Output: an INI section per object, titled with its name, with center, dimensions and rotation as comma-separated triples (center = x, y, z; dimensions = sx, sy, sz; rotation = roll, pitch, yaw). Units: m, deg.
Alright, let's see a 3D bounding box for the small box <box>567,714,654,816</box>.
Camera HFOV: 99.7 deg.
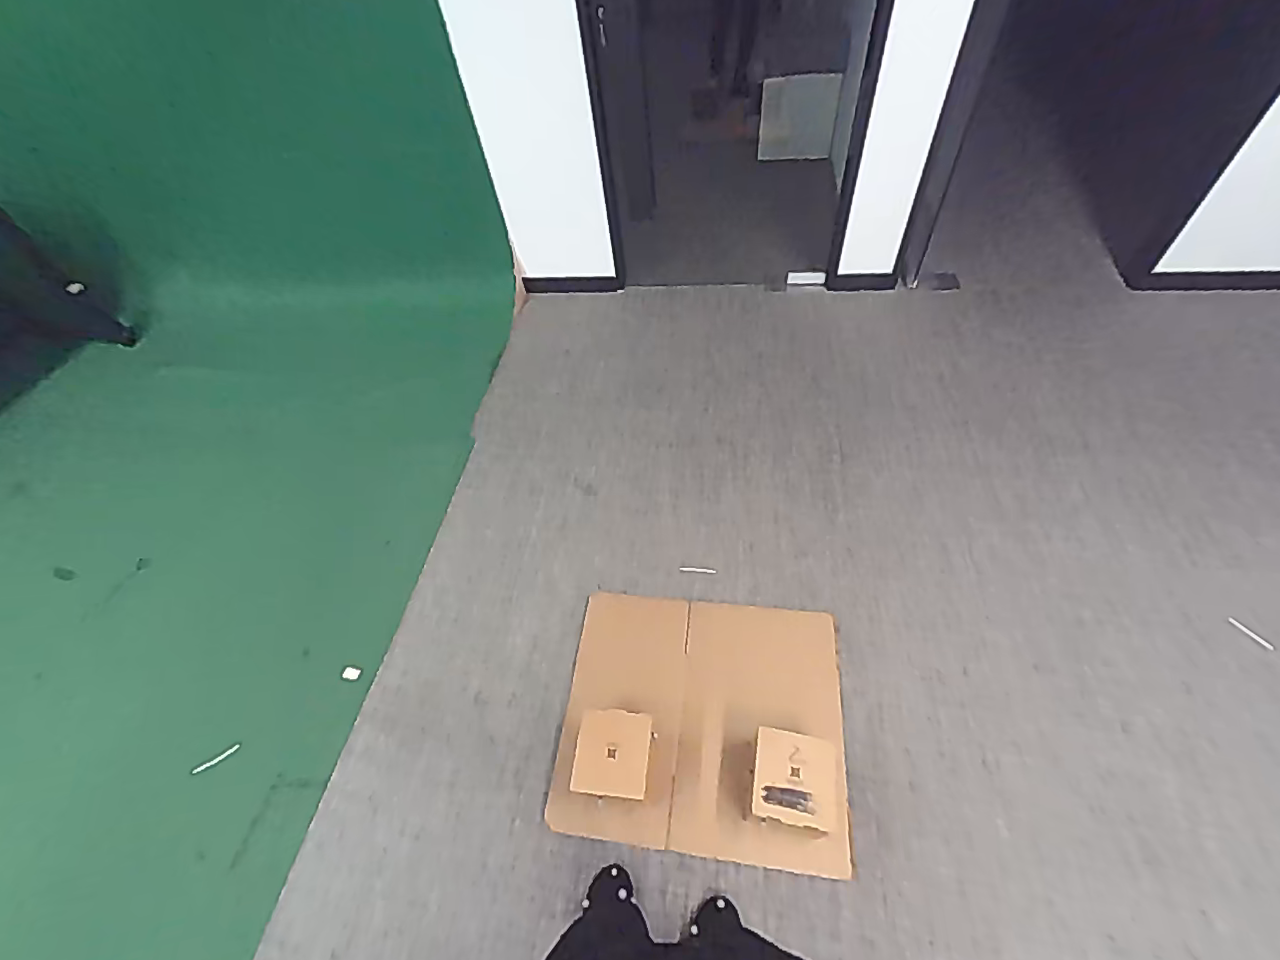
[small box]
center = -0.059, 0.663, 1.250
dimensions = 0.168, 0.176, 0.179
rotation = 2, 52, 8
